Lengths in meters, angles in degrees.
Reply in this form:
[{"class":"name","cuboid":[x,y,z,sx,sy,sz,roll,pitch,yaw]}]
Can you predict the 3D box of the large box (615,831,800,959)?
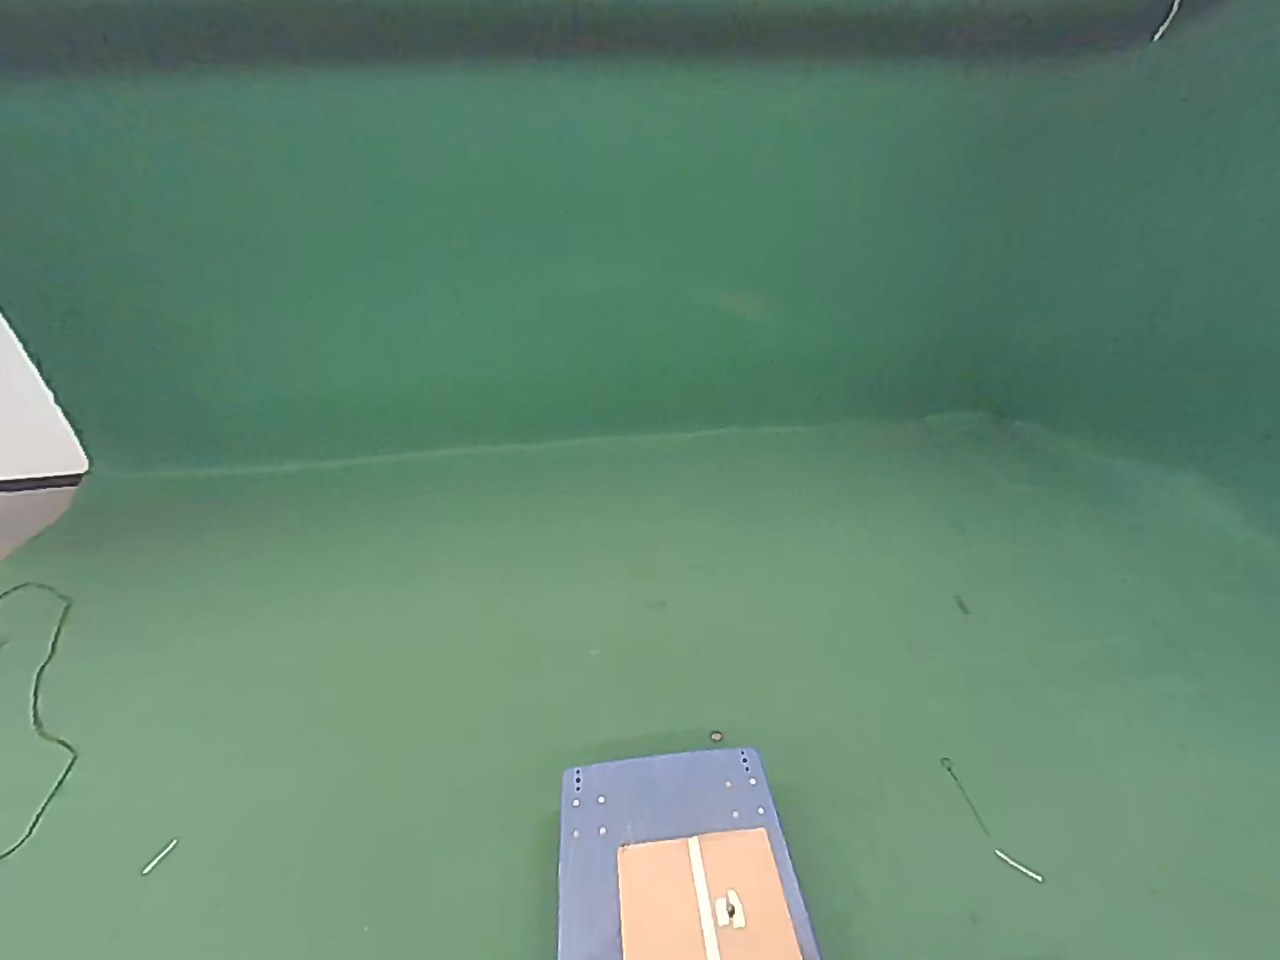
[{"class":"large box","cuboid":[0.131,0.968,1.012,0.320,0.320,0.408,-4,29,-5]}]
